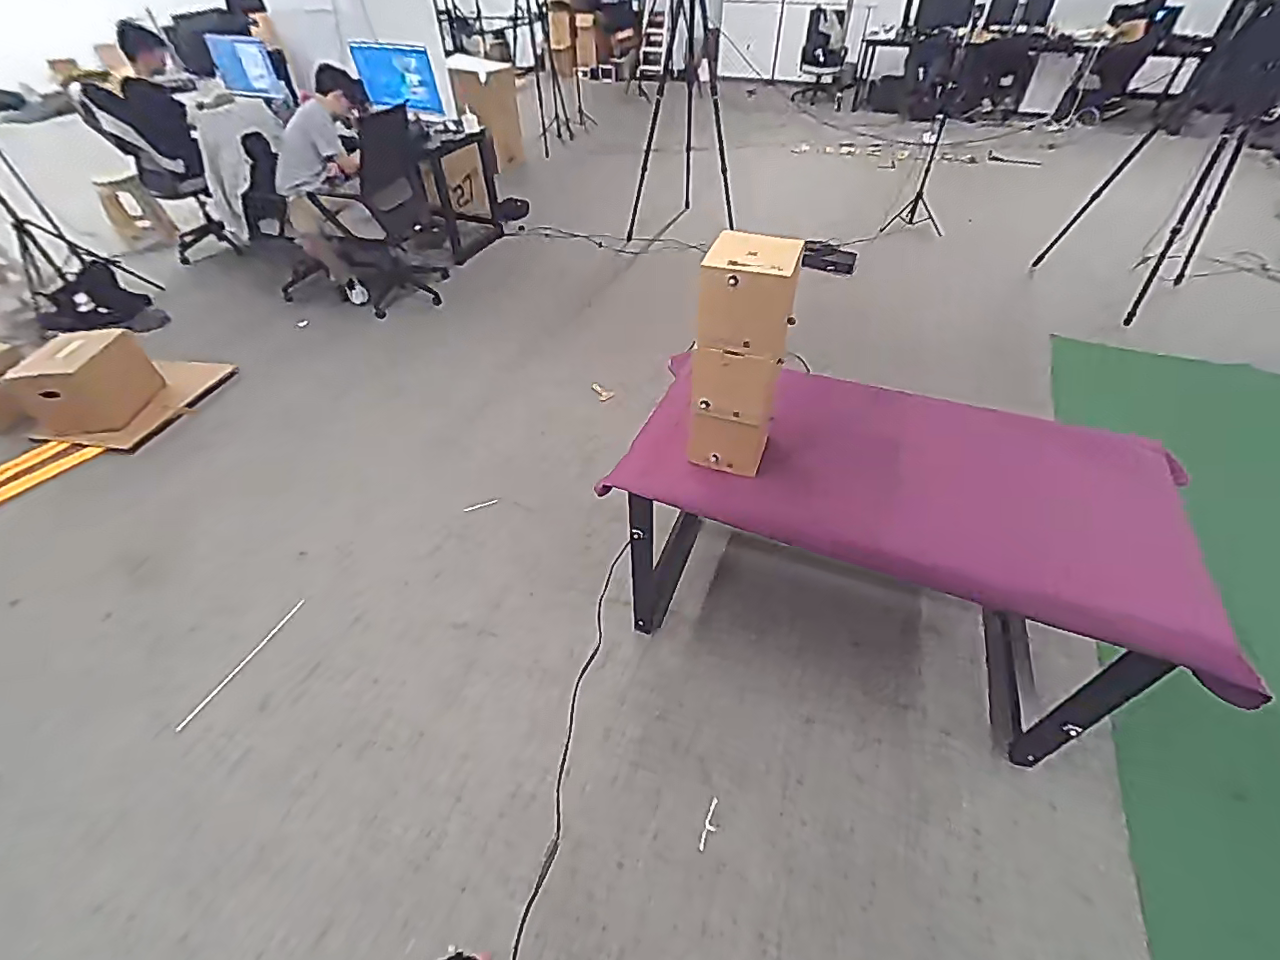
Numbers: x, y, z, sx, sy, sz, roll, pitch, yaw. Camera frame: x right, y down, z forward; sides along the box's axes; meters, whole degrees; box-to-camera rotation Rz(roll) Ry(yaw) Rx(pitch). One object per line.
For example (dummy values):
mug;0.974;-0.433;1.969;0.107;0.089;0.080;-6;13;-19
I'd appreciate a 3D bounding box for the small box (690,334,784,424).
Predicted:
small box;0.211;-0.244;1.177;0.168;0.176;0.179;14;46;16

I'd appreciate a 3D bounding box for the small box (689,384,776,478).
small box;0.218;-0.134;1.298;0.168;0.176;0.179;14;48;16

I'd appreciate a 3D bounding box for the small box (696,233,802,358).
small box;0.210;-0.366;1.067;0.168;0.176;0.179;13;46;16
